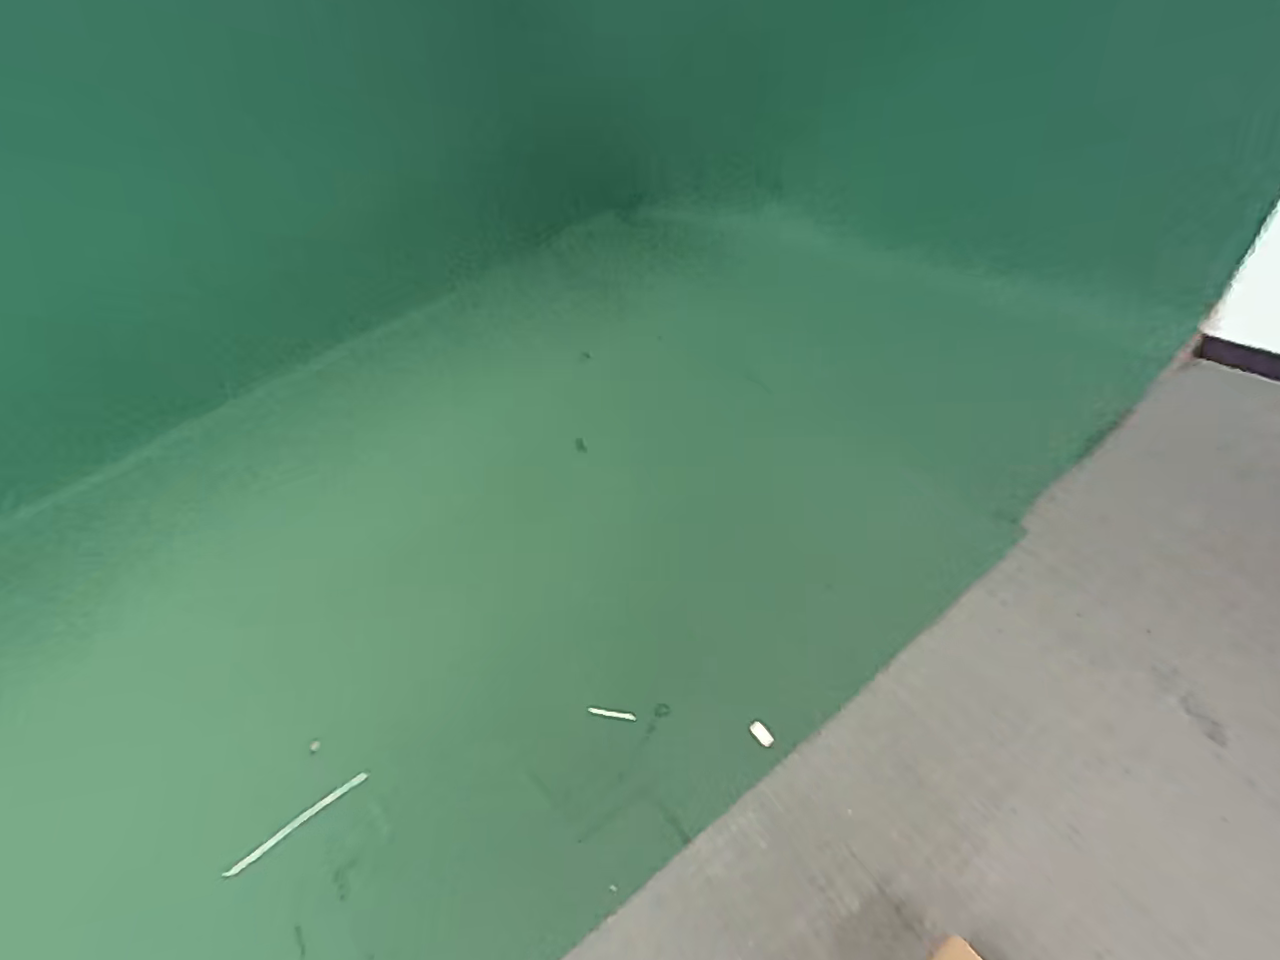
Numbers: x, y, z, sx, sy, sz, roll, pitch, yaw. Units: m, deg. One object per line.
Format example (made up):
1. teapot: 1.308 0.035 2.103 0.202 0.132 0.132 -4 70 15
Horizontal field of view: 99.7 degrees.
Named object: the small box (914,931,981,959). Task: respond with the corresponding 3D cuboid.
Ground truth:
1. small box: 0.502 0.867 0.855 0.179 0.176 0.168 -35 49 -15
